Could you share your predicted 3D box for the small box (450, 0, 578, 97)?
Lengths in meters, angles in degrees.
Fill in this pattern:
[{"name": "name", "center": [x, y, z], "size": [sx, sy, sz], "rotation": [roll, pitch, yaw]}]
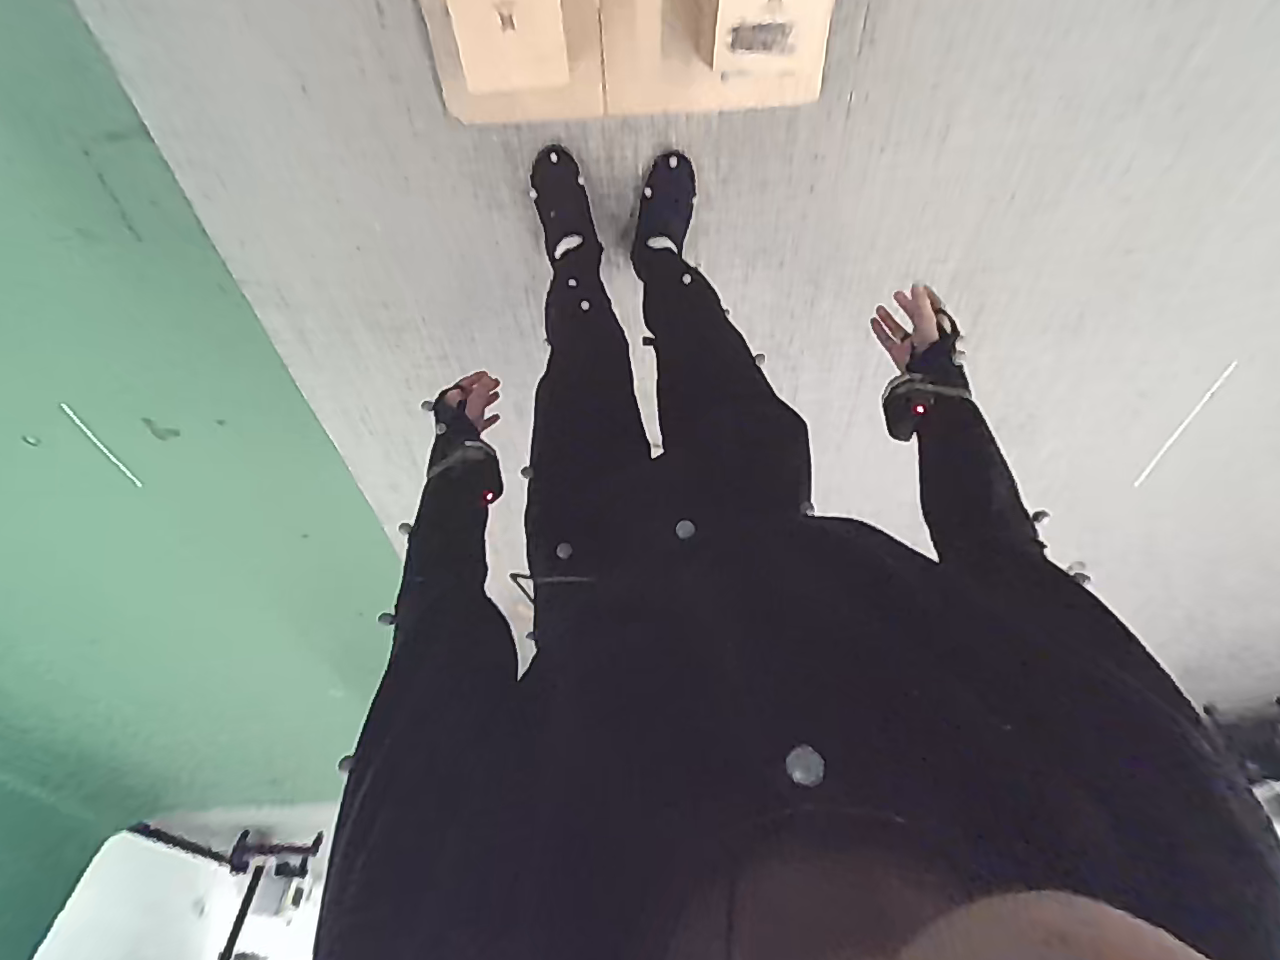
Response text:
[{"name": "small box", "center": [-0.194, -0.732, 0.855], "size": [0.168, 0.176, 0.179], "rotation": [-4, 133, 2]}]
